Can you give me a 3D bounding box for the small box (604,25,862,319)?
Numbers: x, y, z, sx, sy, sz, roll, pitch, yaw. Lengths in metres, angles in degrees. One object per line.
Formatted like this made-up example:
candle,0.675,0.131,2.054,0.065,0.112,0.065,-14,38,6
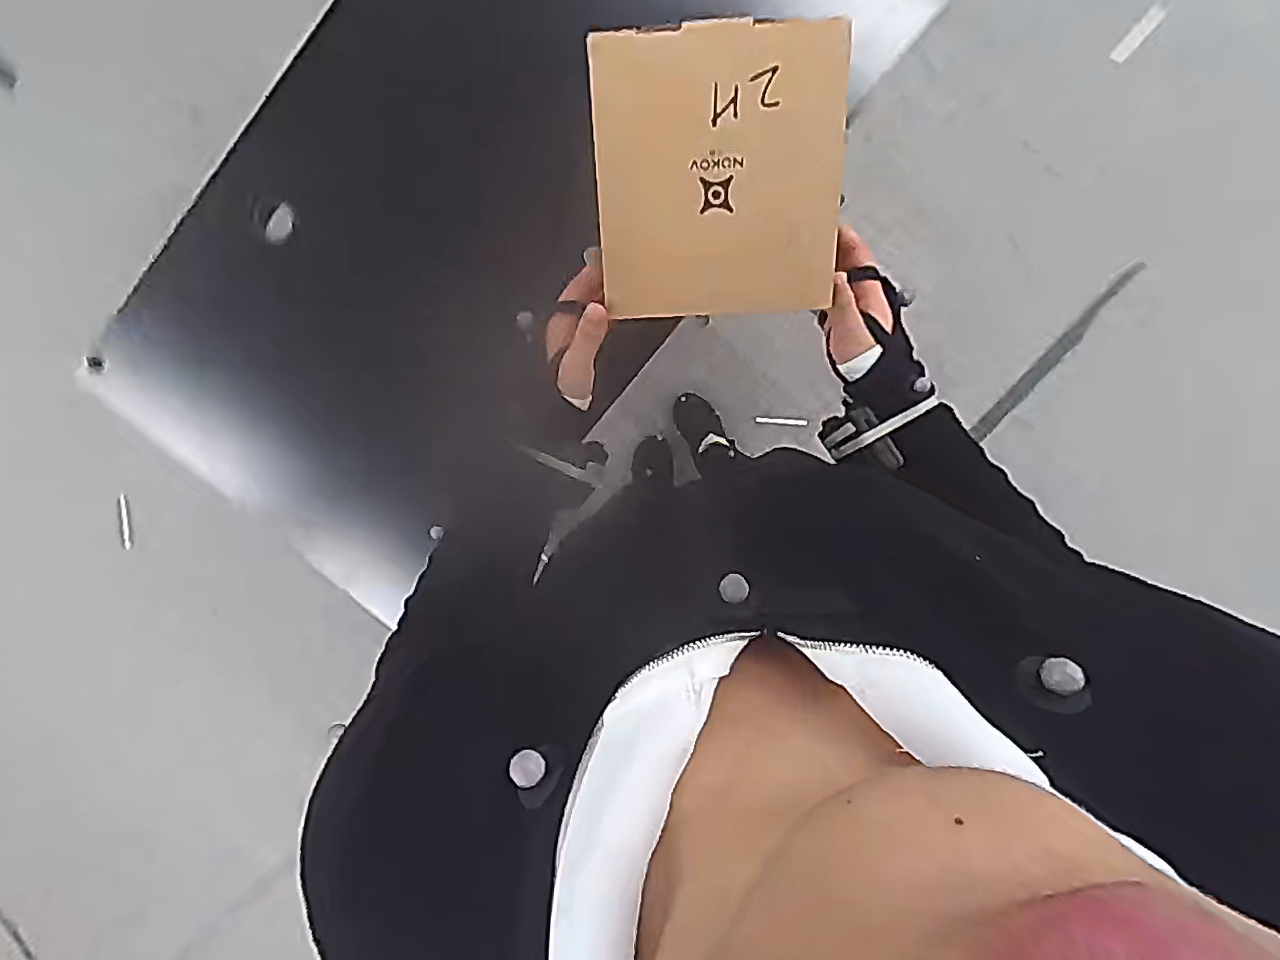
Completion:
small box,0.064,-0.230,0.445,0.168,0.176,0.179,0,109,3
